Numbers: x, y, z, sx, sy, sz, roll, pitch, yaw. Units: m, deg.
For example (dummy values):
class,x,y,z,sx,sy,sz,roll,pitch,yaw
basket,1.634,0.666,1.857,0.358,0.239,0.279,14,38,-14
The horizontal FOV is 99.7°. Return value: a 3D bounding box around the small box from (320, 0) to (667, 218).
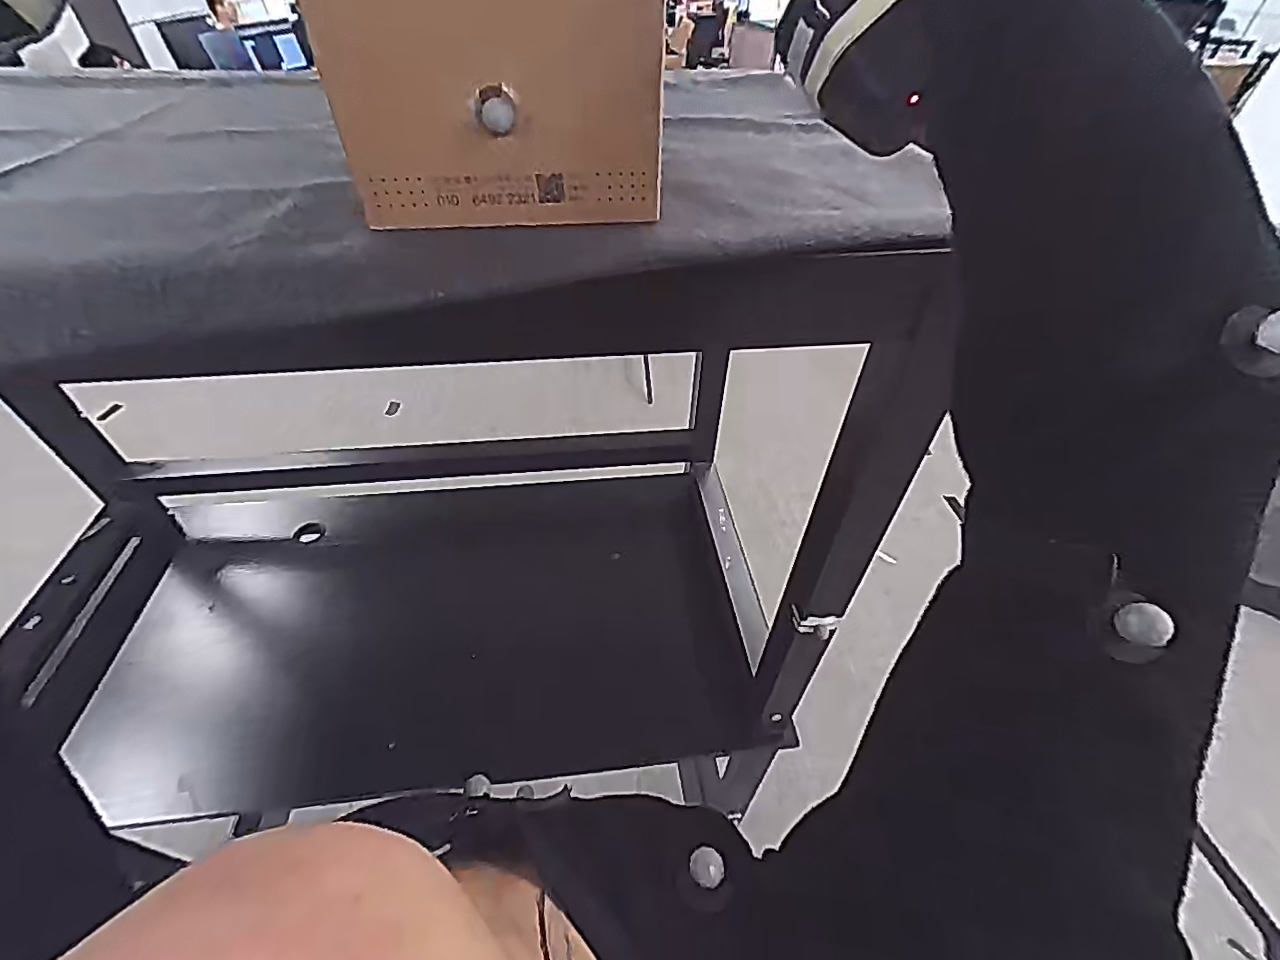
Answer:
class,x,y,z,sx,sy,sz,roll,pitch,yaw
small box,-0.076,-0.267,0.314,0.168,0.176,0.179,-4,44,-4
